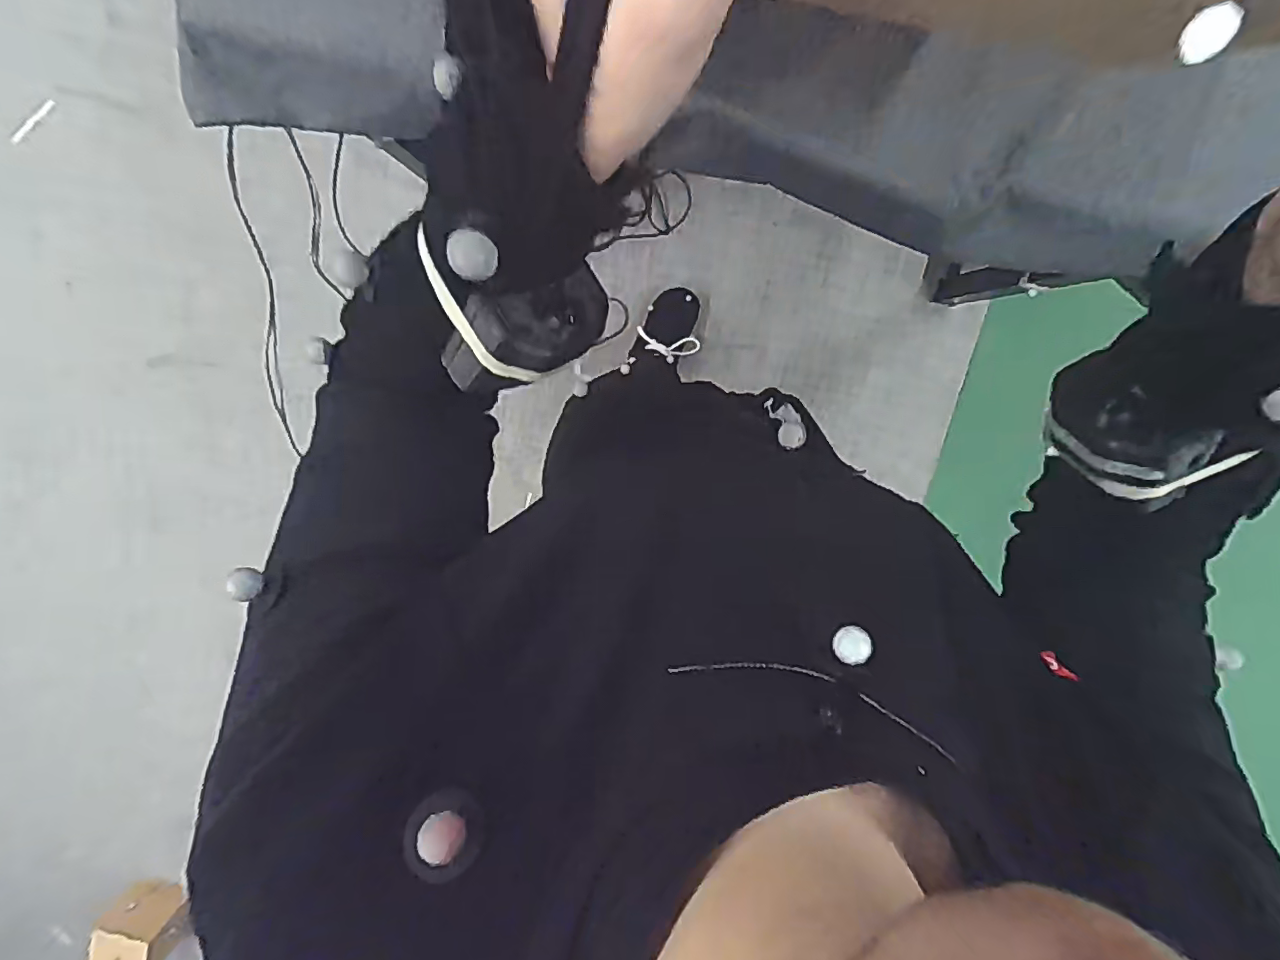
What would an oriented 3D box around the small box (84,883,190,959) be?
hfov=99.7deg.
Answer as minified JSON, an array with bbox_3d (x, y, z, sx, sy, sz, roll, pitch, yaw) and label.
[{"bbox_3d":[-1.508,1.370,1.628,0.168,0.176,0.179,17,103,-1],"label":"small box"}]
